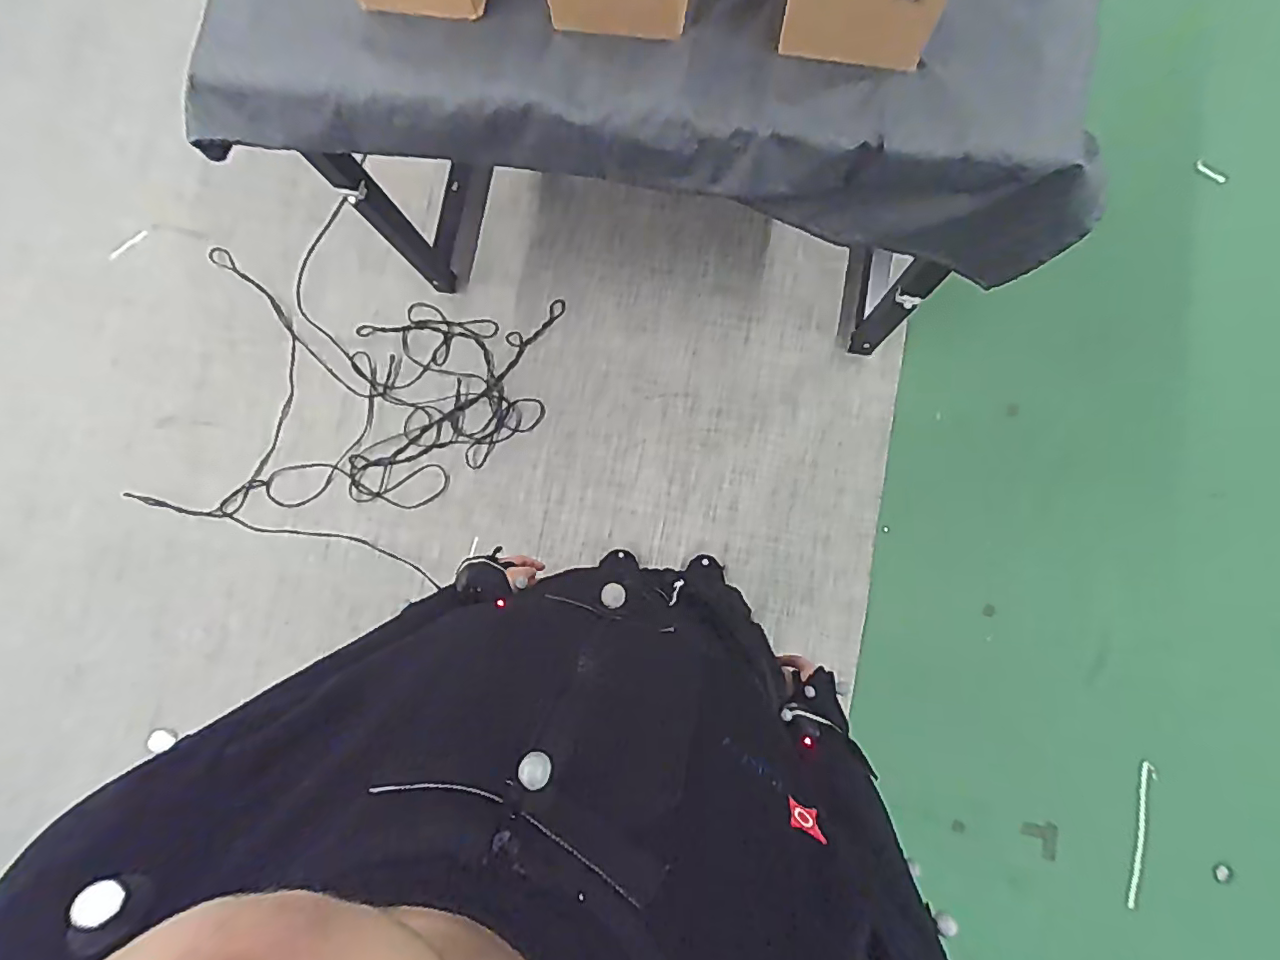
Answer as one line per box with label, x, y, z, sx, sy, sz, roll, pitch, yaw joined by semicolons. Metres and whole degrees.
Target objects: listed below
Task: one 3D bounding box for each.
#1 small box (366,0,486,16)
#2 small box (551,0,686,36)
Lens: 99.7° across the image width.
small box;-0.296;-0.739;0.683;0.179;0.176;0.168;9;84;5
small box;-0.022;-0.687;0.655;0.179;0.176;0.168;9;83;7
